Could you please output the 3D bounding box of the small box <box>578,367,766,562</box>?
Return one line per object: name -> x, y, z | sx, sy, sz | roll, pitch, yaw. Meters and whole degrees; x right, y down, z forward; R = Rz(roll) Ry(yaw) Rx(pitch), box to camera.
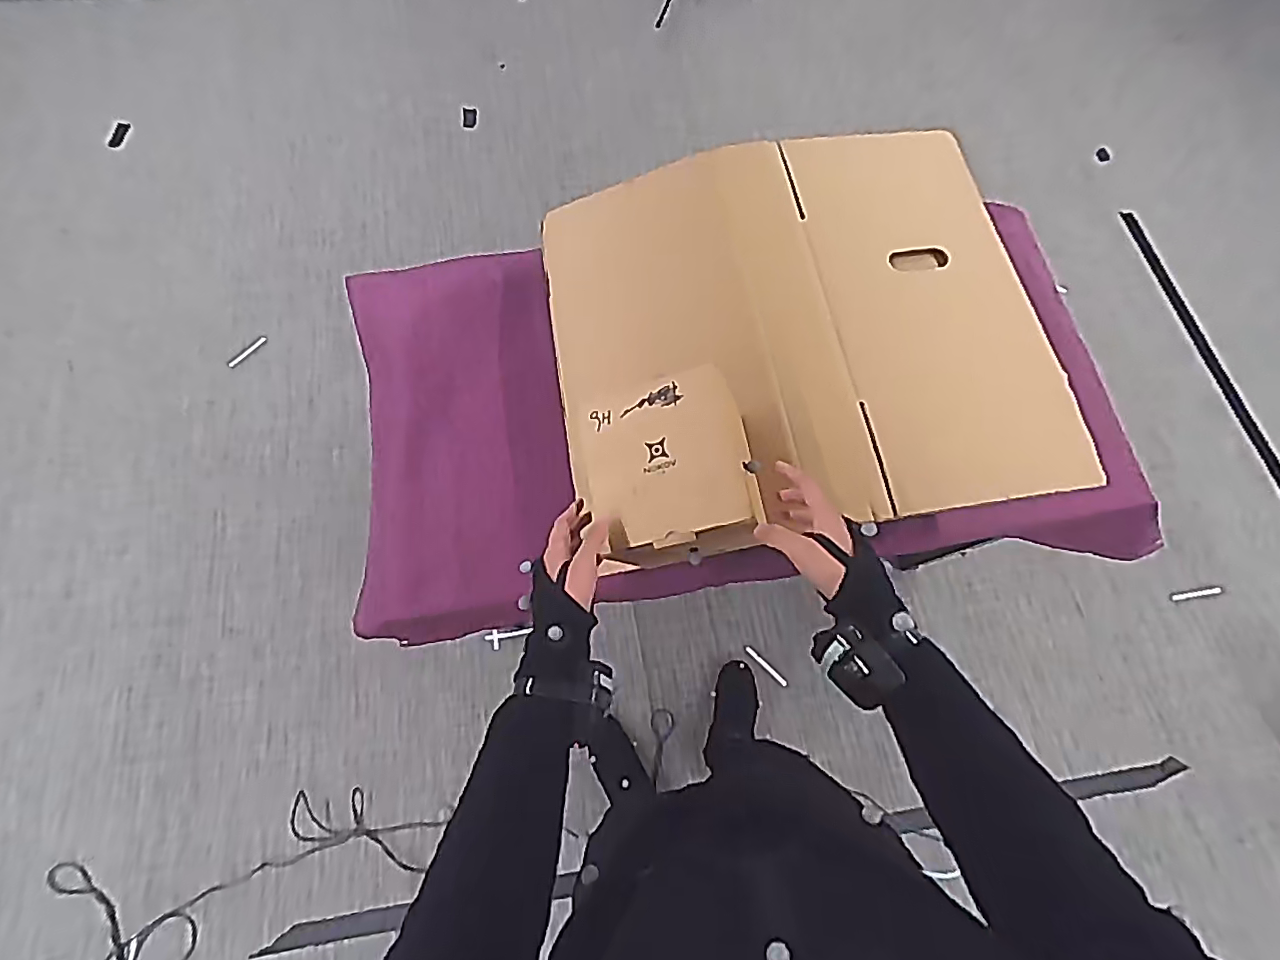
small box -> 0.045, -0.003, 0.639 | 0.168, 0.176, 0.179 | -15, 73, 15
